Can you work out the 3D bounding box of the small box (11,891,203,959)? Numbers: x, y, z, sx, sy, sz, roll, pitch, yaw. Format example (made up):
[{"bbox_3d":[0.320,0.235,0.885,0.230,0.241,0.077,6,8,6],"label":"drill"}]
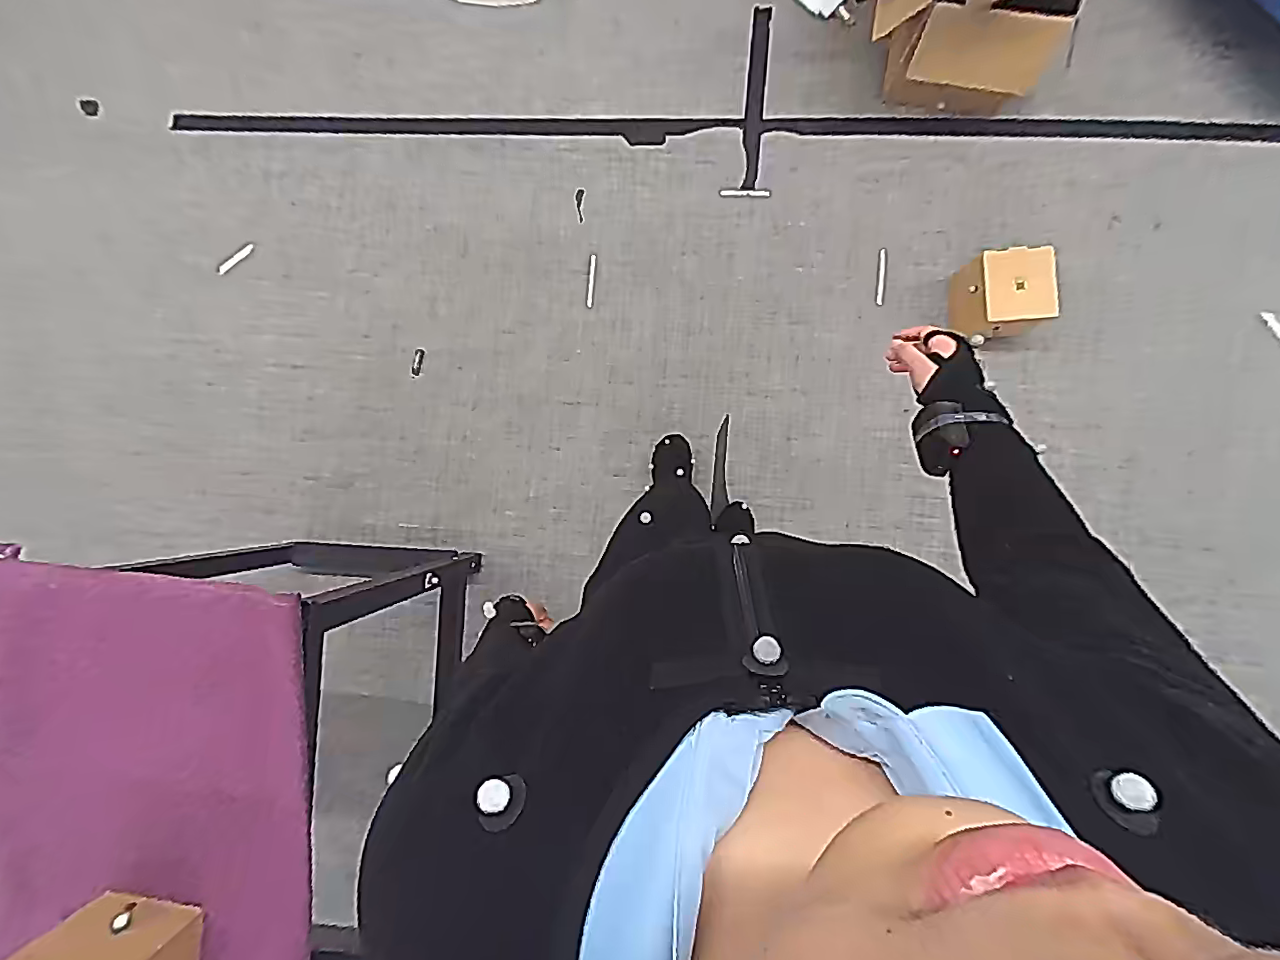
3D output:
[{"bbox_3d":[-0.748,0.721,0.739,0.168,0.176,0.179,7,89,5],"label":"small box"}]

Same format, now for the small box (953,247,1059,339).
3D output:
[{"bbox_3d":[0.923,-0.466,1.376,0.168,0.176,0.179,-3,88,5],"label":"small box"}]
